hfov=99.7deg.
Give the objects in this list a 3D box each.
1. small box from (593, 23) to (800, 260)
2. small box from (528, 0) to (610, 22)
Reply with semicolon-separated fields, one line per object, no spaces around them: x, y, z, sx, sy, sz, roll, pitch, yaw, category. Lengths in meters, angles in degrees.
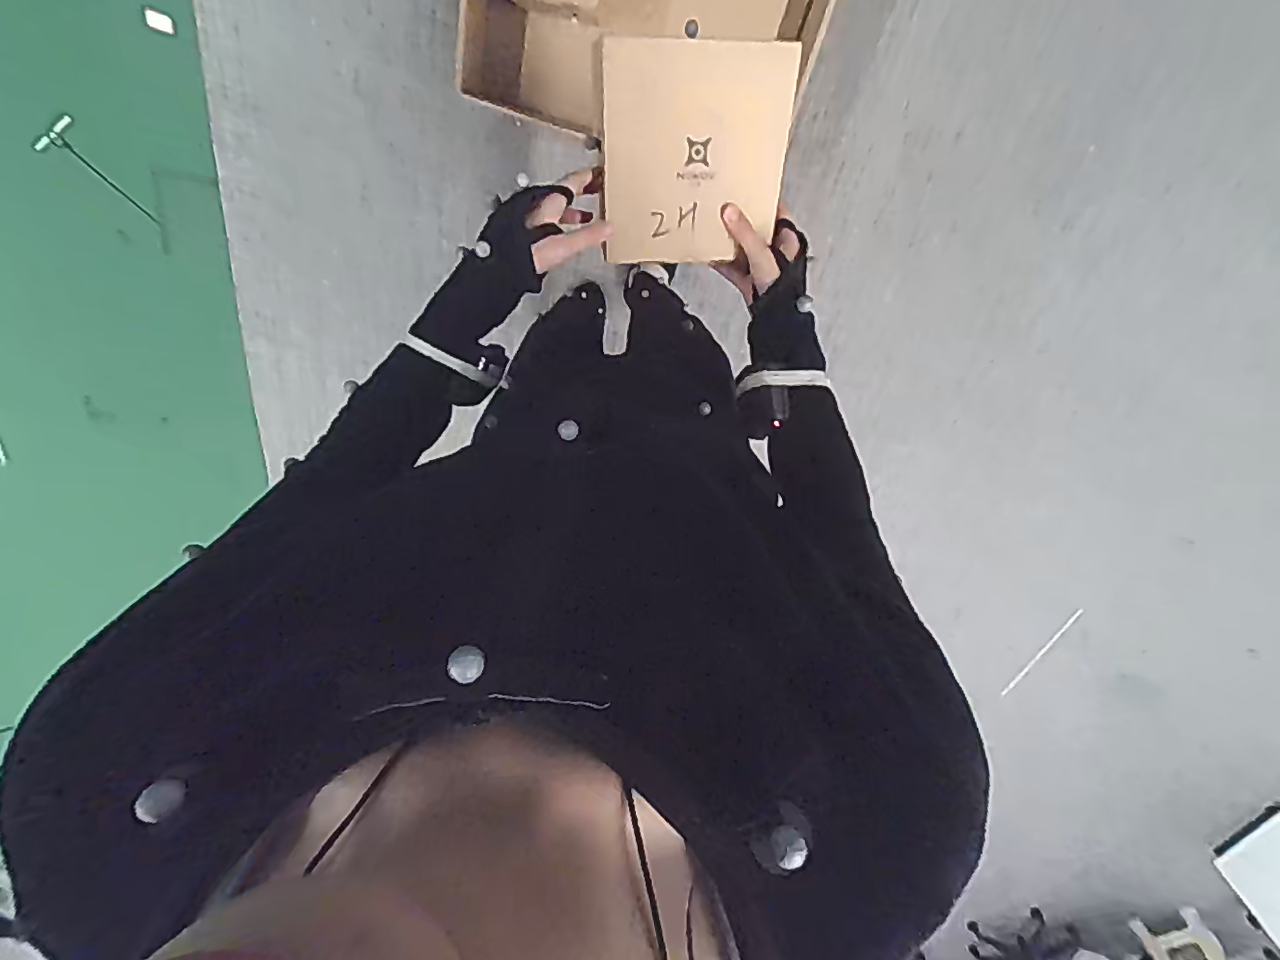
0.038;-0.334;0.541;0.168;0.176;0.179;-2;128;-5;small box
-0.127;-0.909;0.911;0.168;0.176;0.179;11;123;-6;small box
